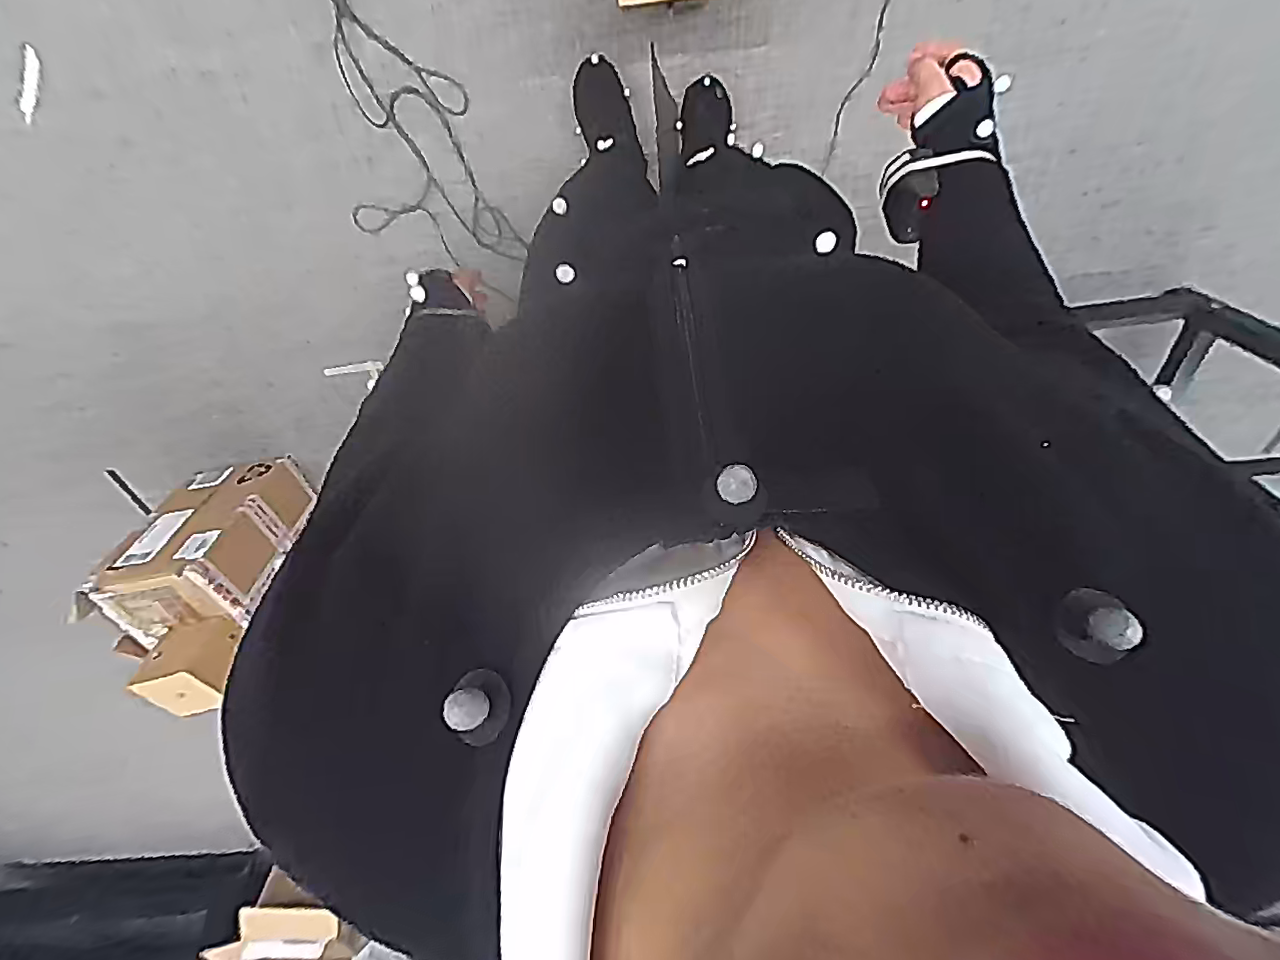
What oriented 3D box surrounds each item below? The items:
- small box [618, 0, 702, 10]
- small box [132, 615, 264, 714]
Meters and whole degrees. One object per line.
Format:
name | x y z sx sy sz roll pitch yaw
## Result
small box | 0.046 -0.824 0.808 0.179 0.176 0.168 -5 128 4
small box | -1.159 0.488 1.436 0.179 0.176 0.168 -17 128 7
